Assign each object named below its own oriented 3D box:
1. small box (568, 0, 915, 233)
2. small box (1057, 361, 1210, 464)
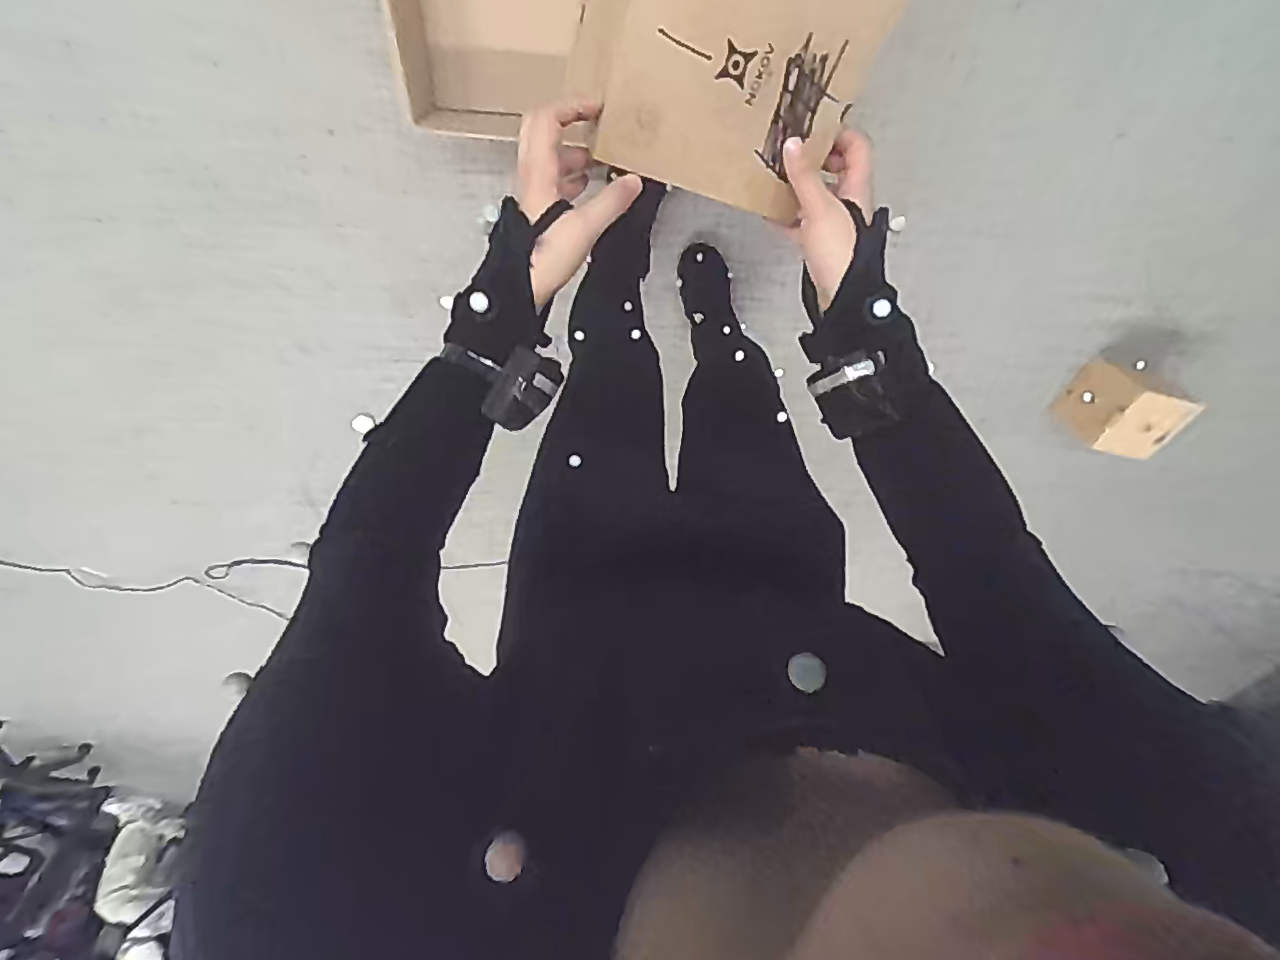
[{"bbox_3d":[0.055,-0.323,0.415,0.179,0.176,0.168,3,138,-22],"label":"small box"},{"bbox_3d":[1.173,-0.168,1.306,0.179,0.176,0.168,11,131,-9],"label":"small box"}]
